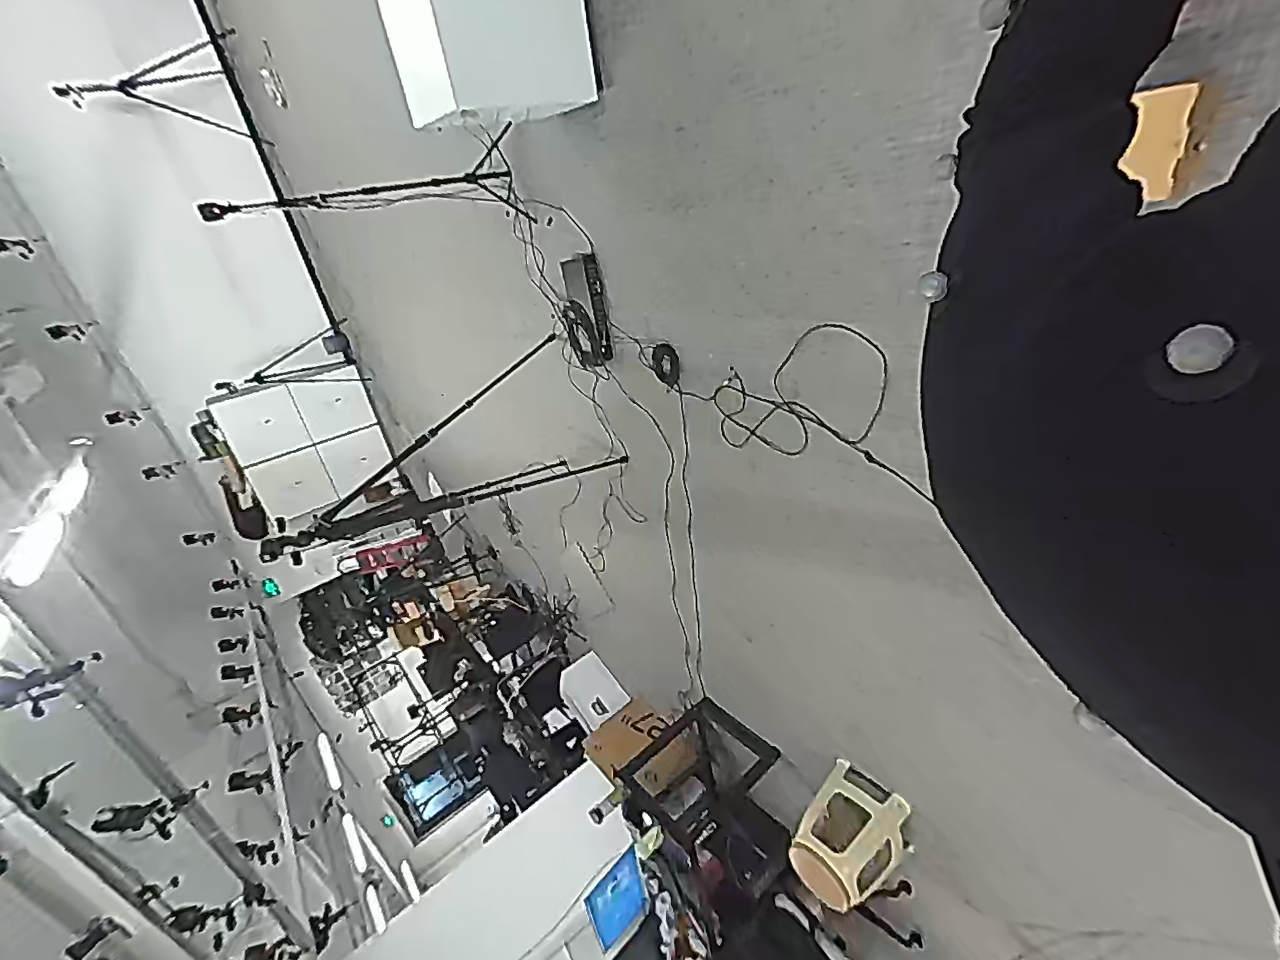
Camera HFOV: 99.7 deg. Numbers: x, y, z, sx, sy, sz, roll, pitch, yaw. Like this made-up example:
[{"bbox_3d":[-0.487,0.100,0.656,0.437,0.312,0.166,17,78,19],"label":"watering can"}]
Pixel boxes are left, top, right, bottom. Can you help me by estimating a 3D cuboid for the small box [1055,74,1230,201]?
[{"bbox_3d":[0.889,-0.604,0.964,0.179,0.176,0.168,24,133,47],"label":"small box"}]
